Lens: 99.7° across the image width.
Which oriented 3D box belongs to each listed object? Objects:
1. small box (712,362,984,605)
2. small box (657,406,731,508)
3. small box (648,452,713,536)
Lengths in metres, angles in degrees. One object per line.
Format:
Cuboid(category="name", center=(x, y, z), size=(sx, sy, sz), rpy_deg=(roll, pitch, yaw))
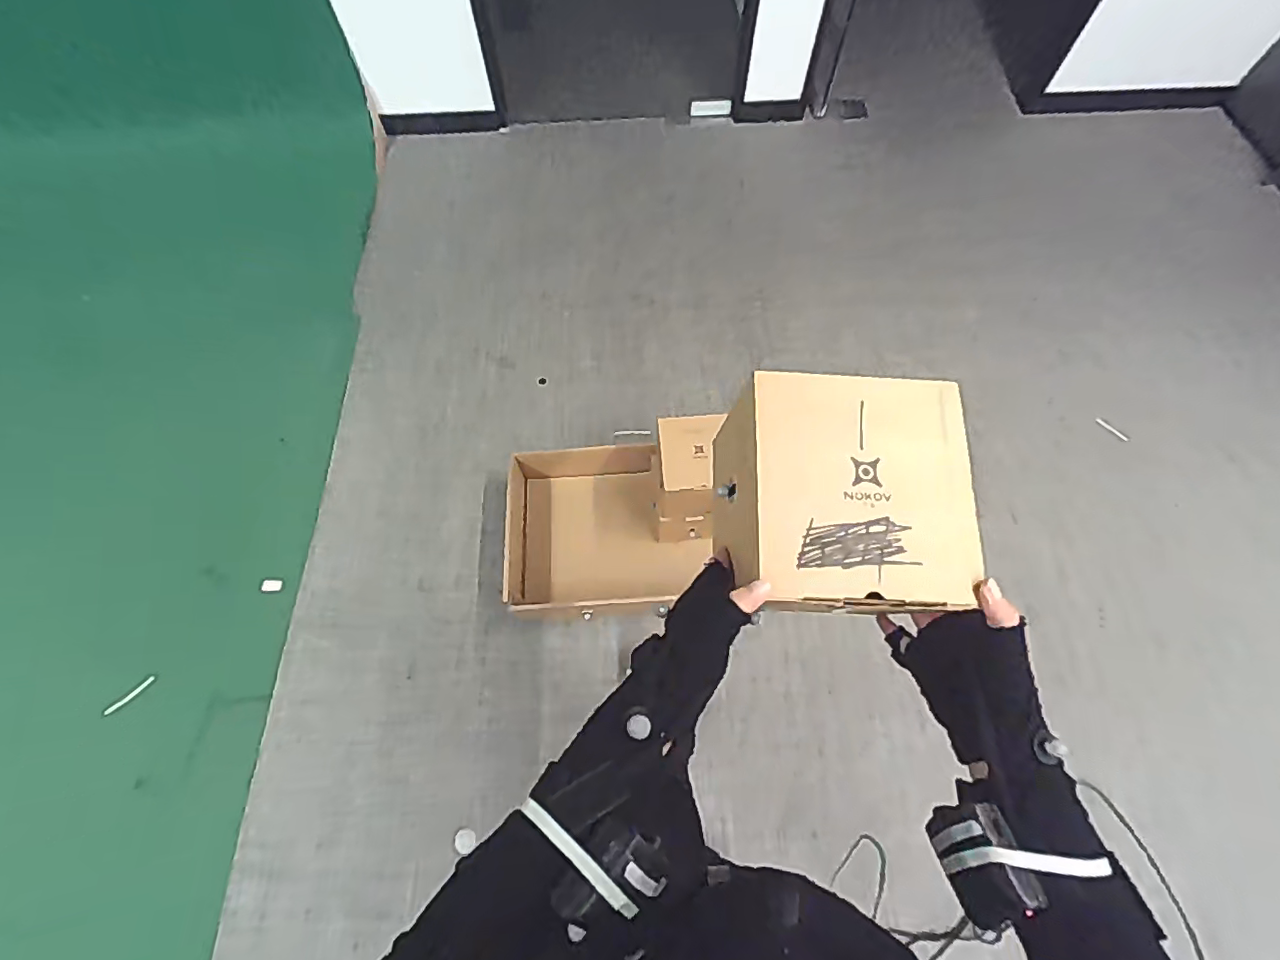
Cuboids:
Cuboid(category="small box", center=(0.161, 0.017, 0.477), size=(0.168, 0.176, 0.179), rpy_deg=(3, 74, -4))
Cuboid(category="small box", center=(0.126, -0.043, 1.198), size=(0.168, 0.176, 0.179), rpy_deg=(-4, 66, -1))
Cuboid(category="small box", center=(0.115, 0.035, 1.363), size=(0.168, 0.176, 0.179), rpy_deg=(-8, 65, -1))
